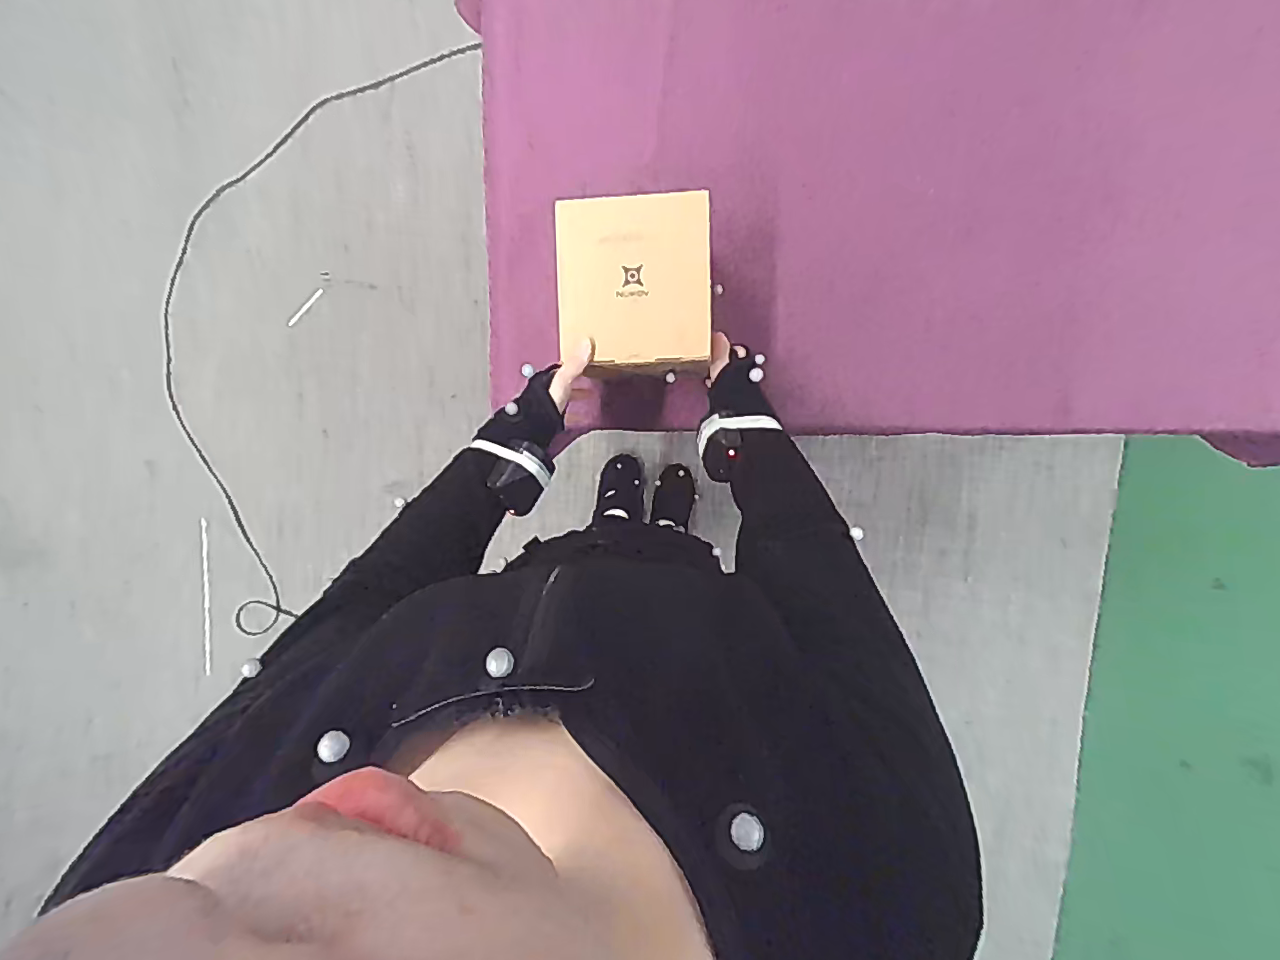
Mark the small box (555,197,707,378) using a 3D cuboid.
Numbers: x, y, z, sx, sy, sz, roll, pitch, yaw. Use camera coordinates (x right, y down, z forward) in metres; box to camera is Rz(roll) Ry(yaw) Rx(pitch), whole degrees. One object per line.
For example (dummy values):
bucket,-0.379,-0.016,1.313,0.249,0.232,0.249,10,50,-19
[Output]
small box,-0.003,-0.218,0.660,0.168,0.176,0.179,0,94,5
